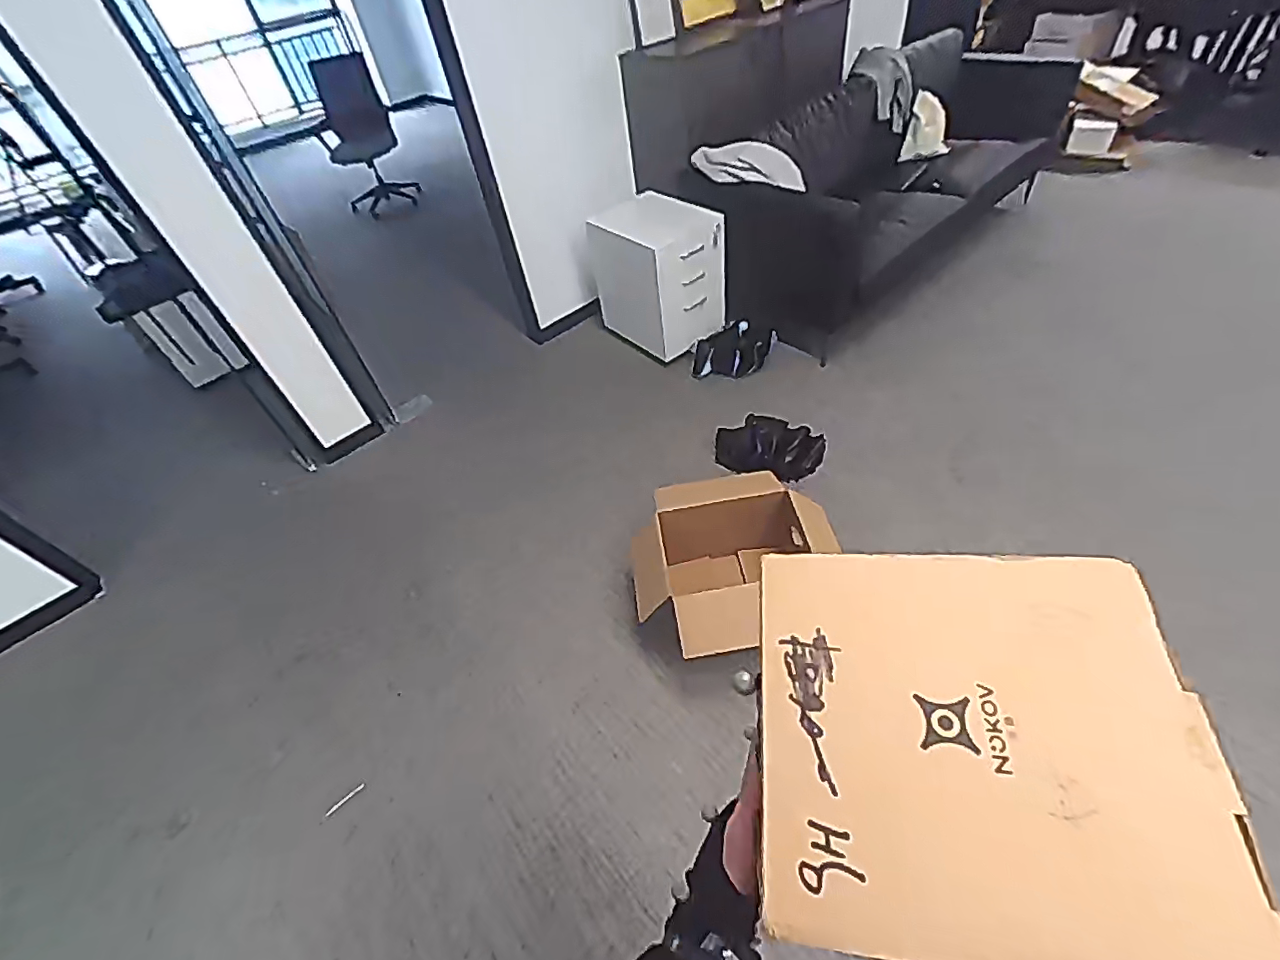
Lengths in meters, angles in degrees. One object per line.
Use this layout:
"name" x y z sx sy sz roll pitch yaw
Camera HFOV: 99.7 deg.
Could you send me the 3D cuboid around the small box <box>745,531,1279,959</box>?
"small box" 0.150 0.143 0.296 0.179 0.176 0.168 1 55 13
